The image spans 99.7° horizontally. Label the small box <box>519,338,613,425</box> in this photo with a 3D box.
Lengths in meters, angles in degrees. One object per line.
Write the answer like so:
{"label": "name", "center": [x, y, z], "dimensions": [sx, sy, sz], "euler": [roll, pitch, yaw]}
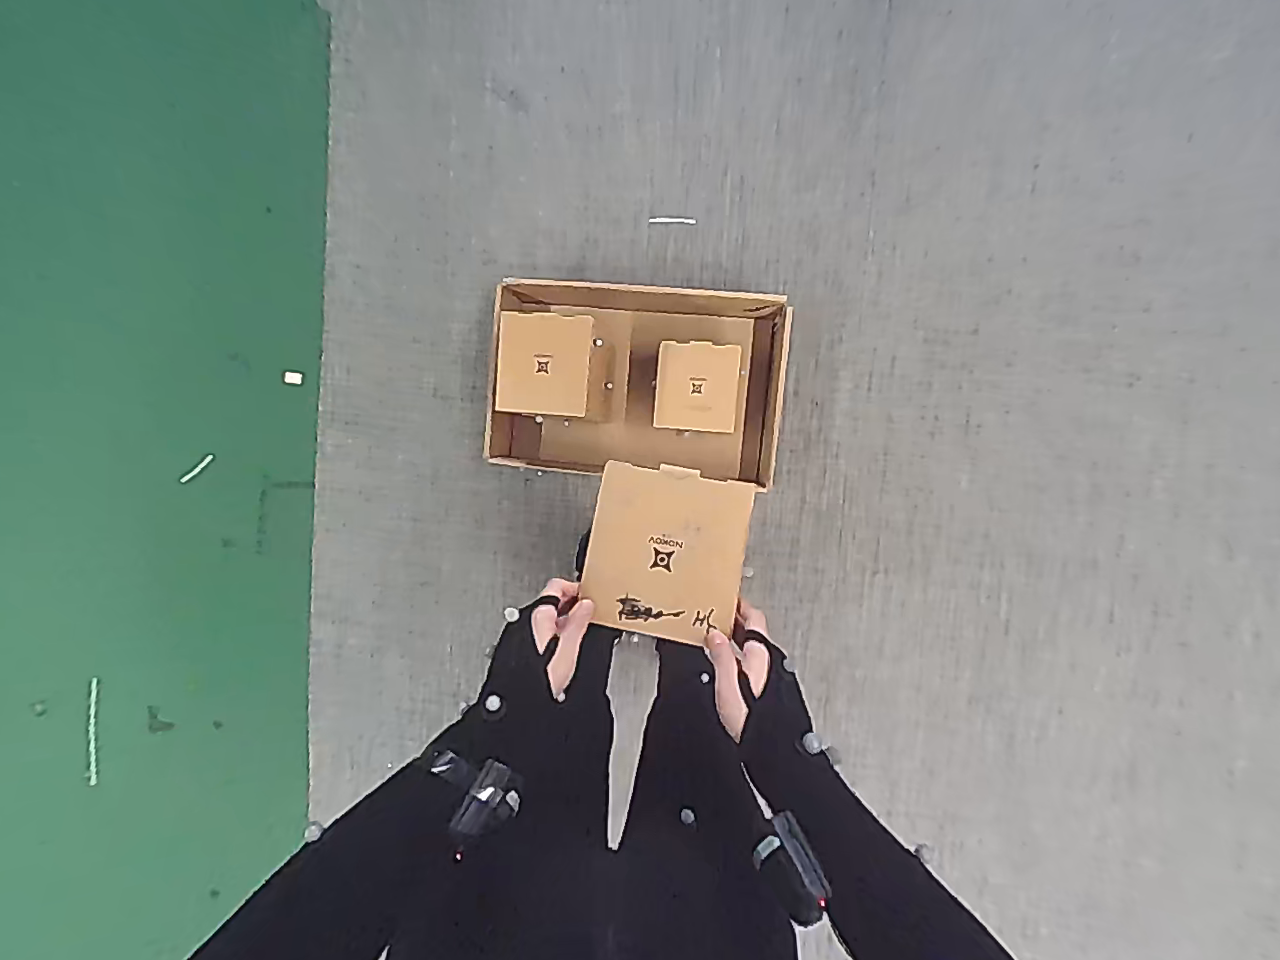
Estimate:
{"label": "small box", "center": [-0.156, -0.215, 1.184], "dimensions": [0.168, 0.176, 0.179], "euler": [6, 93, 4]}

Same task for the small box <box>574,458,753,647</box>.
{"label": "small box", "center": [0.035, 0.087, 0.646], "dimensions": [0.168, 0.176, 0.179], "euler": [9, 80, 10]}

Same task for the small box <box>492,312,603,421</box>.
{"label": "small box", "center": [-0.167, -0.206, 1.022], "dimensions": [0.168, 0.176, 0.179], "euler": [5, 93, 5]}
